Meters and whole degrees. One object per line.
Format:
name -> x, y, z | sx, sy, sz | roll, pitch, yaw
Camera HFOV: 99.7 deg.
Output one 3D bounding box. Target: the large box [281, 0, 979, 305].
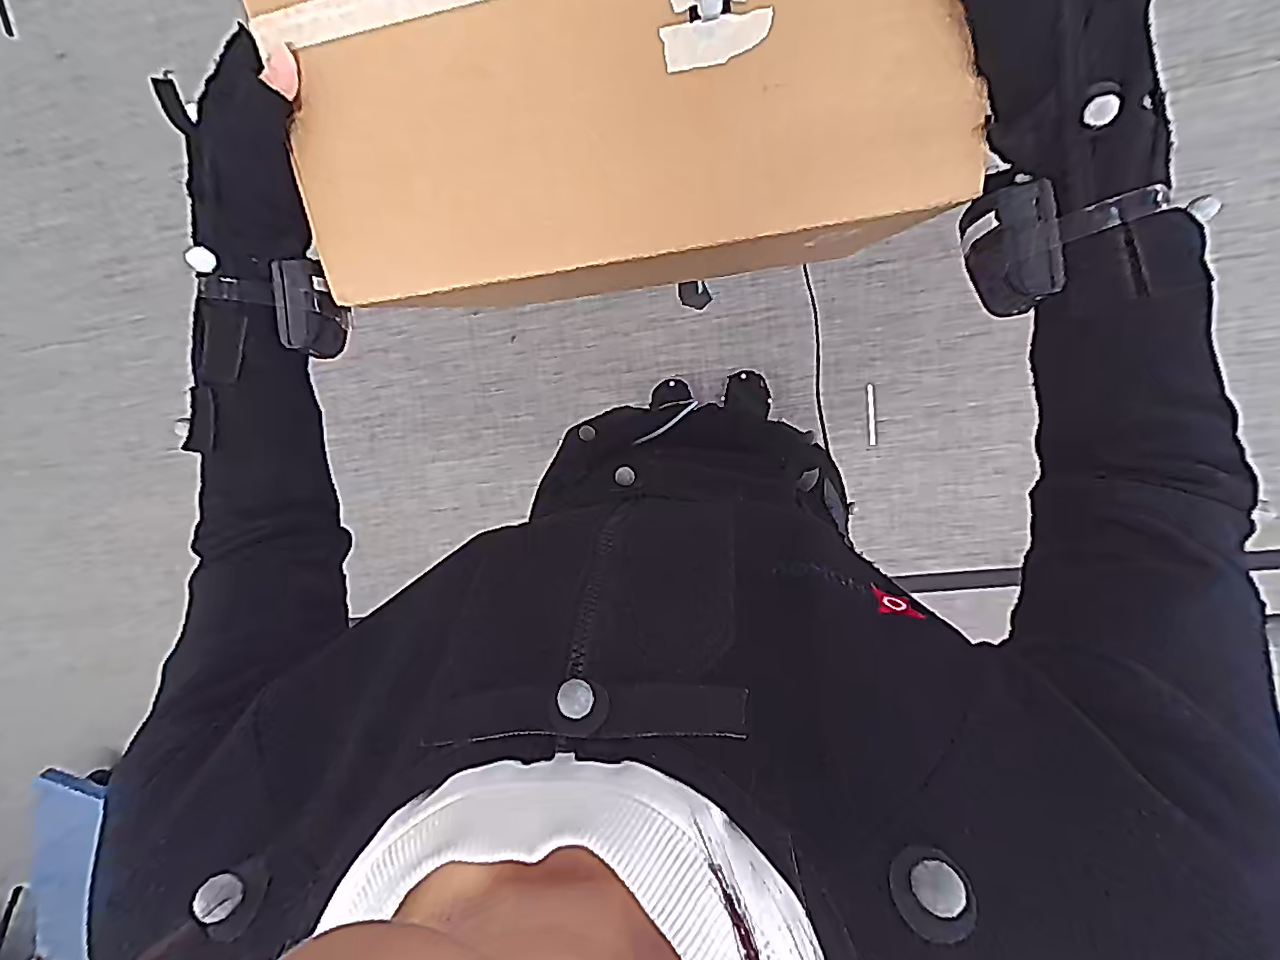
large box -> -0.006, -0.337, 0.444 | 0.408, 0.320, 0.320 | -6, 107, 10
